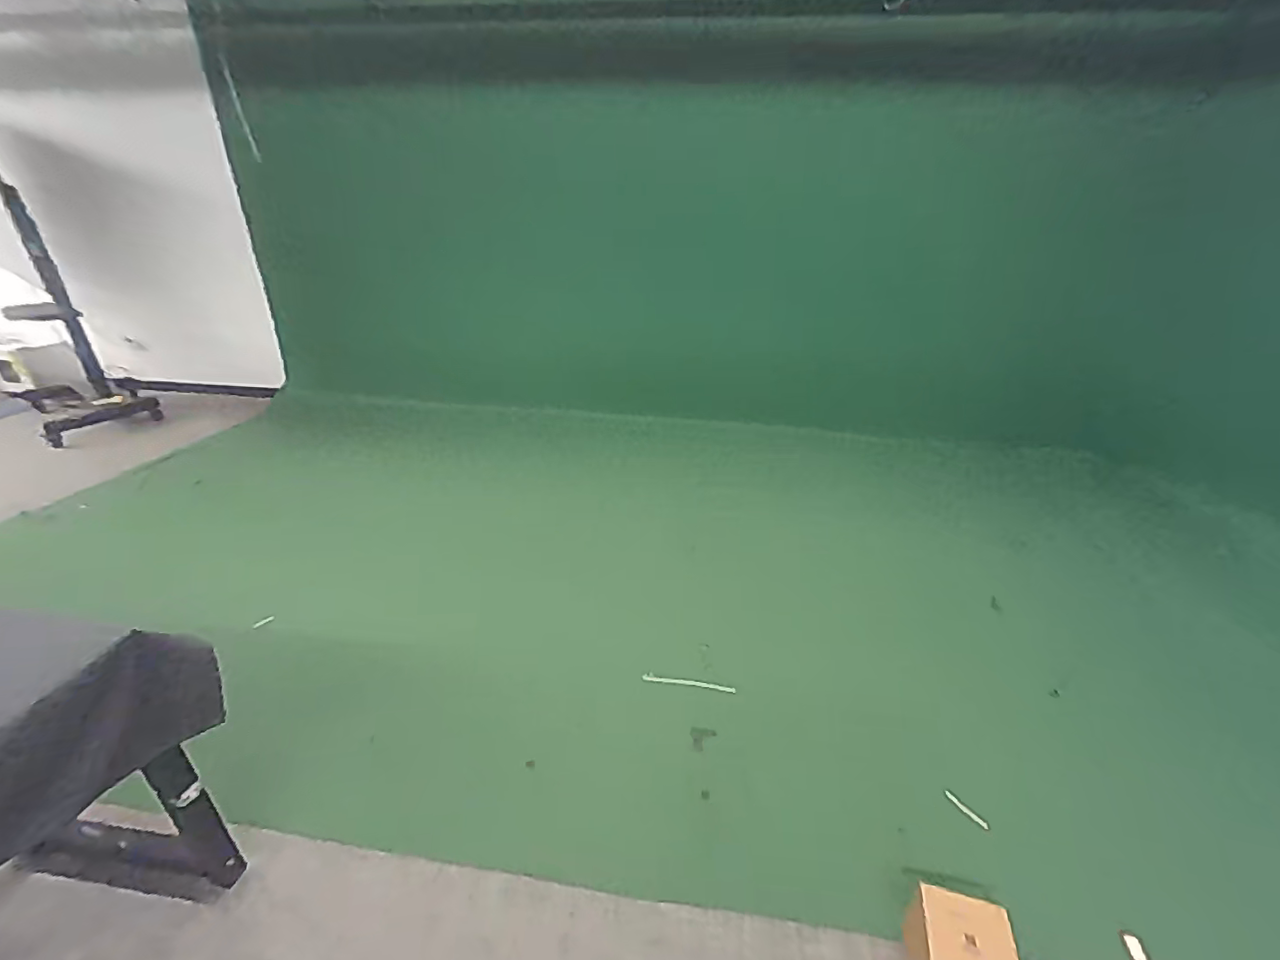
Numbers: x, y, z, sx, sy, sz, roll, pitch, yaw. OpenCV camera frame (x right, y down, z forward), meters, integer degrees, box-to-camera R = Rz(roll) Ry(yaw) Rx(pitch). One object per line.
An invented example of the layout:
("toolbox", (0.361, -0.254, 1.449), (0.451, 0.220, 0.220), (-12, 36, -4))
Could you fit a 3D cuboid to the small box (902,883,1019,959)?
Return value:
("small box", (0.645, 0.974, 1.089), (0.168, 0.176, 0.179), (10, 27, 13))
